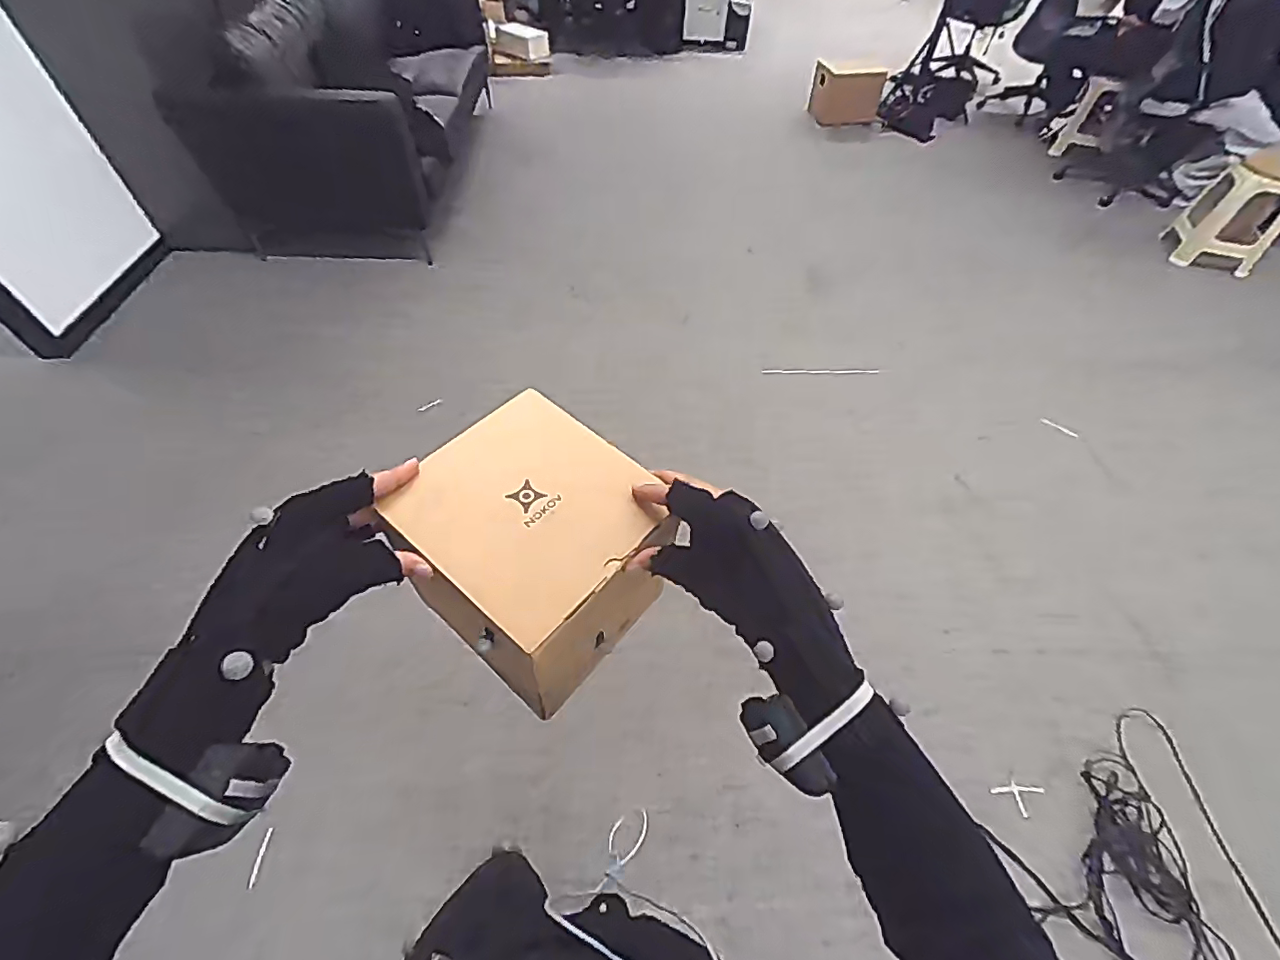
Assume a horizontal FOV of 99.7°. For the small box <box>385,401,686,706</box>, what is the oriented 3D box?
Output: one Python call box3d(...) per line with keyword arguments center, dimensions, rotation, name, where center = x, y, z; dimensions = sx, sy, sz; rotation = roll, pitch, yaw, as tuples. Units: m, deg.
box3d(center=(-0.087, 0.069, 0.483), dimensions=(0.179, 0.176, 0.168), rotation=(37, 58, 19), name="small box")
